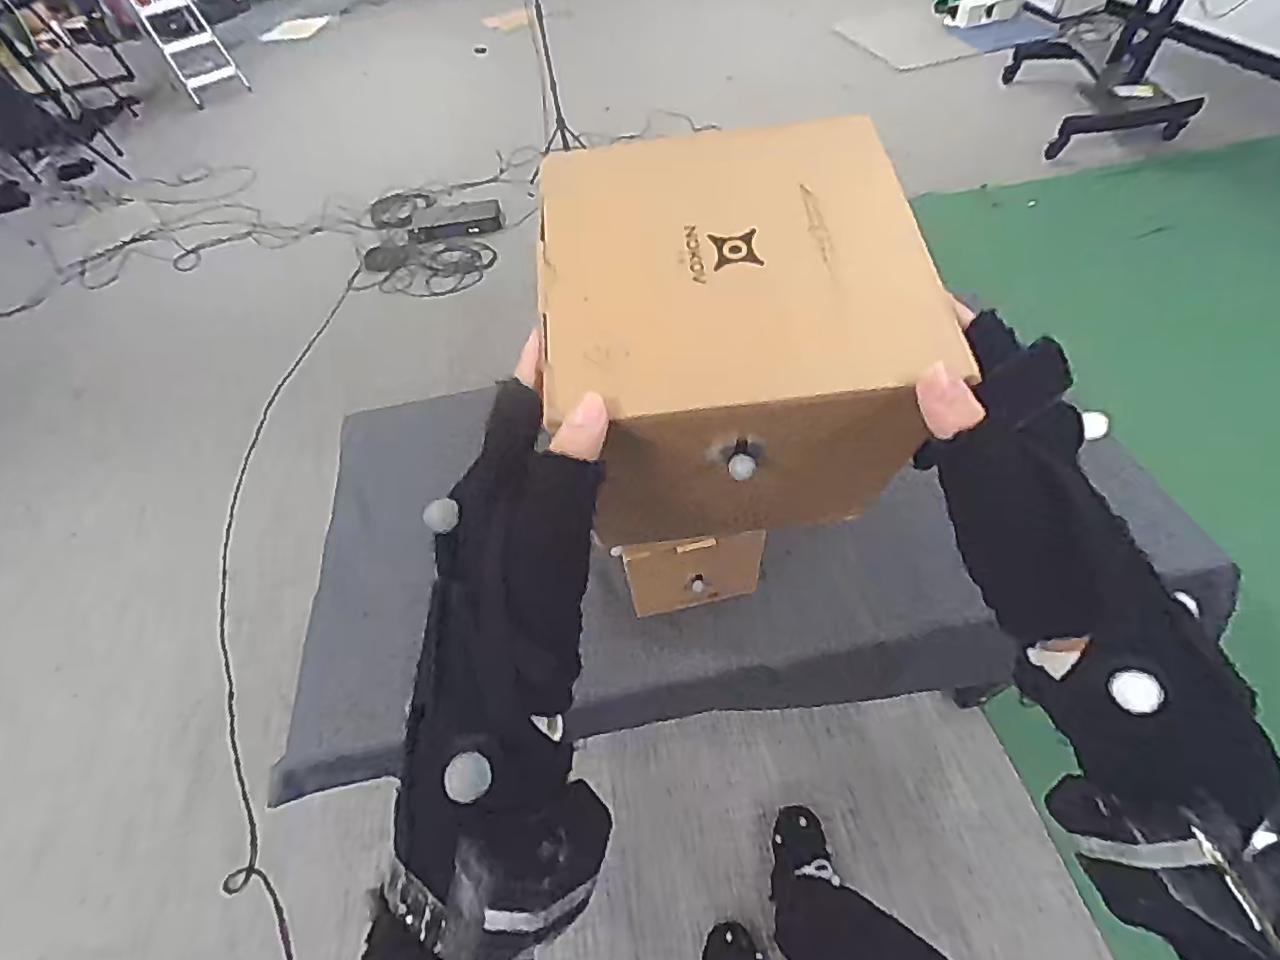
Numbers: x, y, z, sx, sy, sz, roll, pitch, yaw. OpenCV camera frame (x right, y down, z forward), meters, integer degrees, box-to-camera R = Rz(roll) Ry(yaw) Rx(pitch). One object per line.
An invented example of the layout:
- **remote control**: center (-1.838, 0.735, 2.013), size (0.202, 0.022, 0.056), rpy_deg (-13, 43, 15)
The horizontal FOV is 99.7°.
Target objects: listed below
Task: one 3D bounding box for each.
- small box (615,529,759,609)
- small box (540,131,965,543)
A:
- **small box**: center (0.049, 0.056, 0.715), size (0.168, 0.176, 0.179), rpy_deg (-12, 54, -2)
- **small box**: center (0.045, -0.068, 0.326), size (0.179, 0.176, 0.168), rpy_deg (-6, 66, 0)
